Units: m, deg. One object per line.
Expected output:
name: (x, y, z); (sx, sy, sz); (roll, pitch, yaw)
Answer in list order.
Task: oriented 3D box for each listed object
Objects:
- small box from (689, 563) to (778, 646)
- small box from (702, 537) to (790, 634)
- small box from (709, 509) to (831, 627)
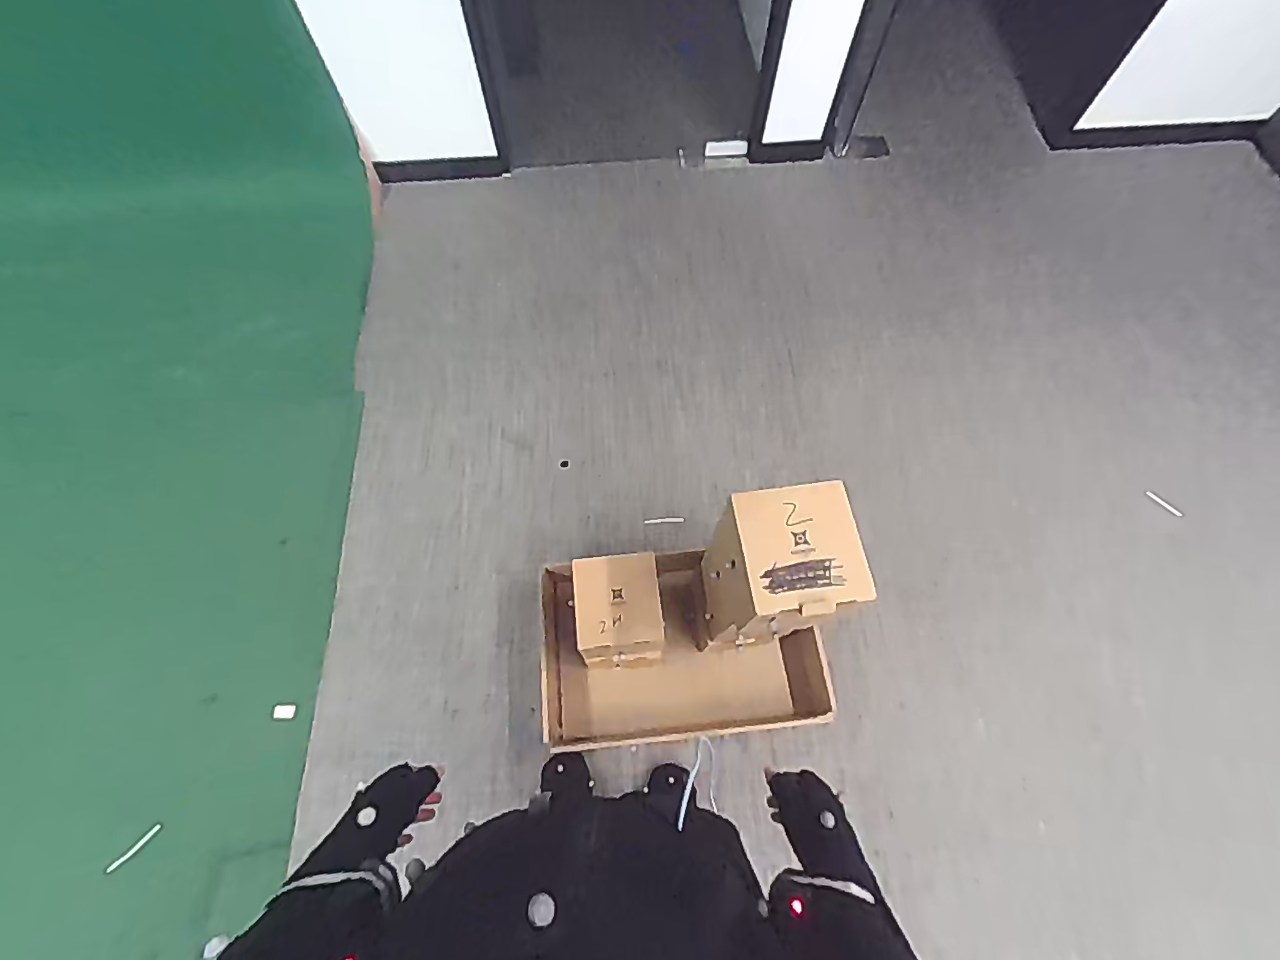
small box: (0.212, 0.289, 1.275); (0.168, 0.176, 0.179); (-10, 67, -2)
small box: (0.224, 0.216, 1.109); (0.168, 0.176, 0.179); (-5, 67, -1)
small box: (0.222, 0.165, 0.970); (0.168, 0.176, 0.179); (-4, 67, -2)
